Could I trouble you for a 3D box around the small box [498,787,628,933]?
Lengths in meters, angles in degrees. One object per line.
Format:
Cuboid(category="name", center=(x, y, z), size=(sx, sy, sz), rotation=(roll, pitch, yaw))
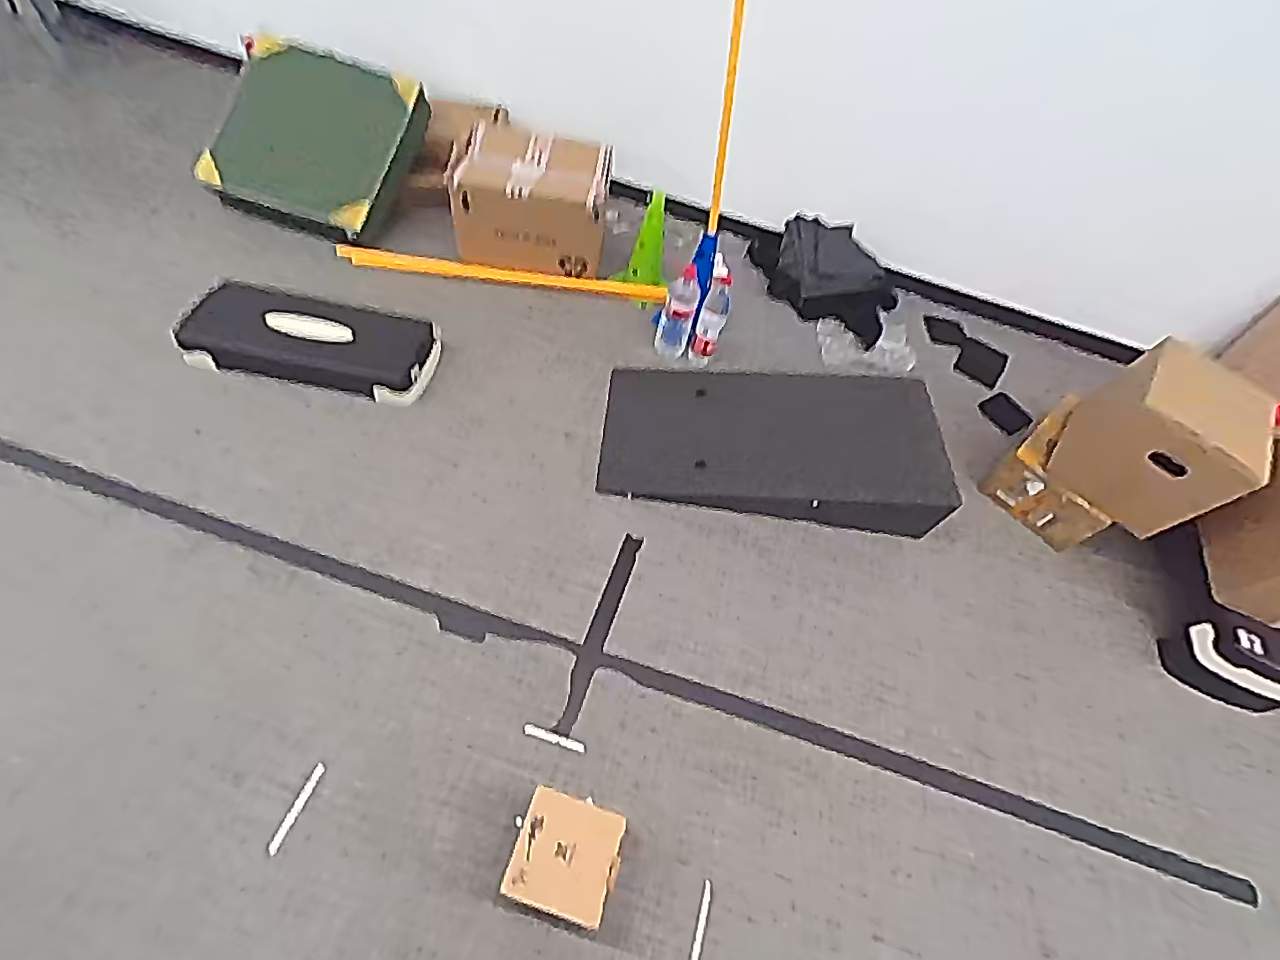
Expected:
Cuboid(category="small box", center=(-0.140, 0.679, 0.982), size=(0.179, 0.176, 0.168), rotation=(21, 56, 2))
